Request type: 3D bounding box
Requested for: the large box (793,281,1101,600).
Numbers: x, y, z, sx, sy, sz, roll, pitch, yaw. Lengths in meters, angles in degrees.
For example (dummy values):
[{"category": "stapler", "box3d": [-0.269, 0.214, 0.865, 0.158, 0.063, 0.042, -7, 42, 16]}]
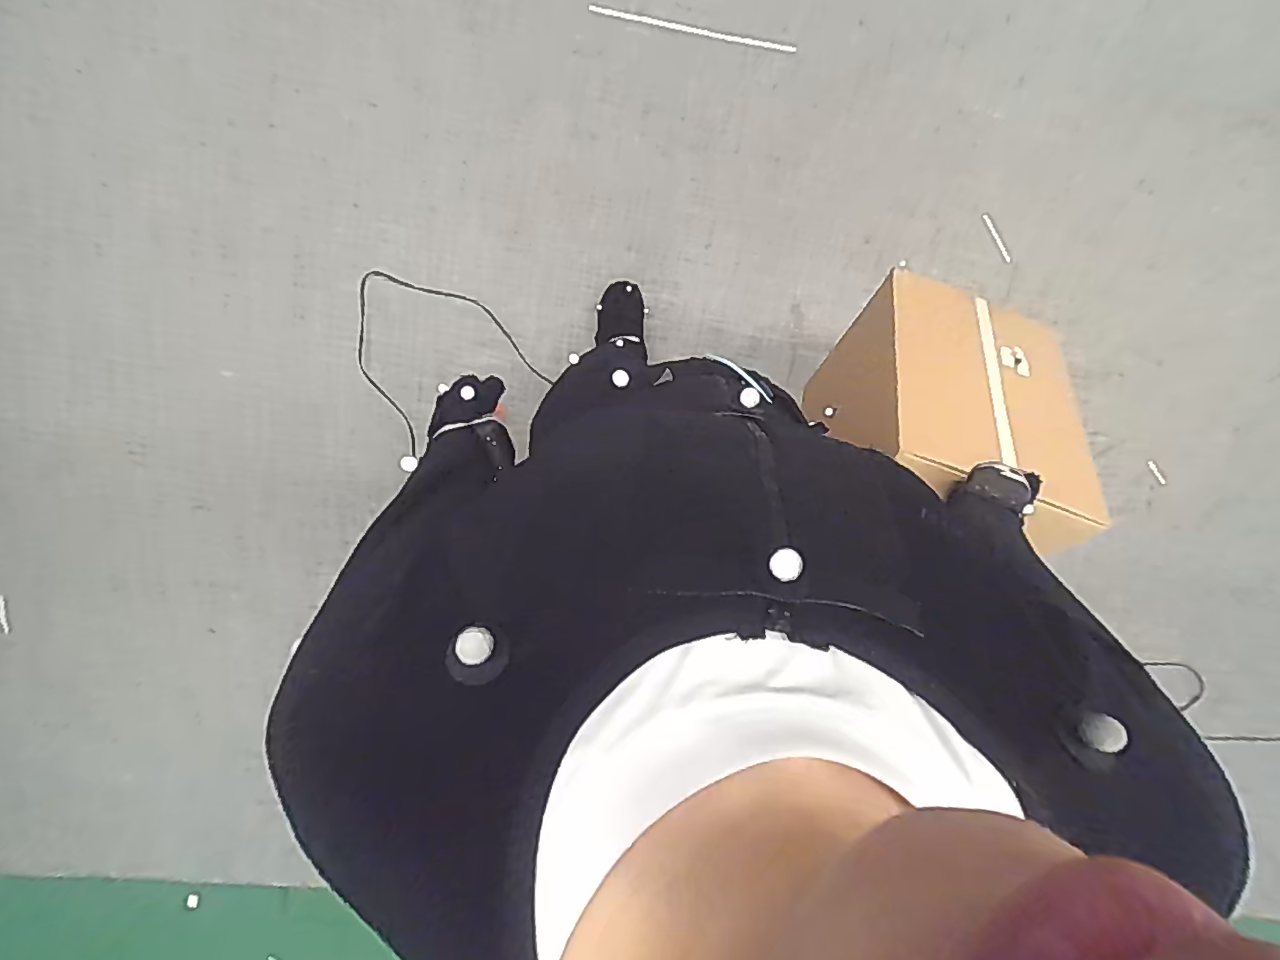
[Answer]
[{"category": "large box", "box3d": [0.486, -0.060, 0.947, 0.320, 0.408, 0.320, 20, 145, -5]}]
